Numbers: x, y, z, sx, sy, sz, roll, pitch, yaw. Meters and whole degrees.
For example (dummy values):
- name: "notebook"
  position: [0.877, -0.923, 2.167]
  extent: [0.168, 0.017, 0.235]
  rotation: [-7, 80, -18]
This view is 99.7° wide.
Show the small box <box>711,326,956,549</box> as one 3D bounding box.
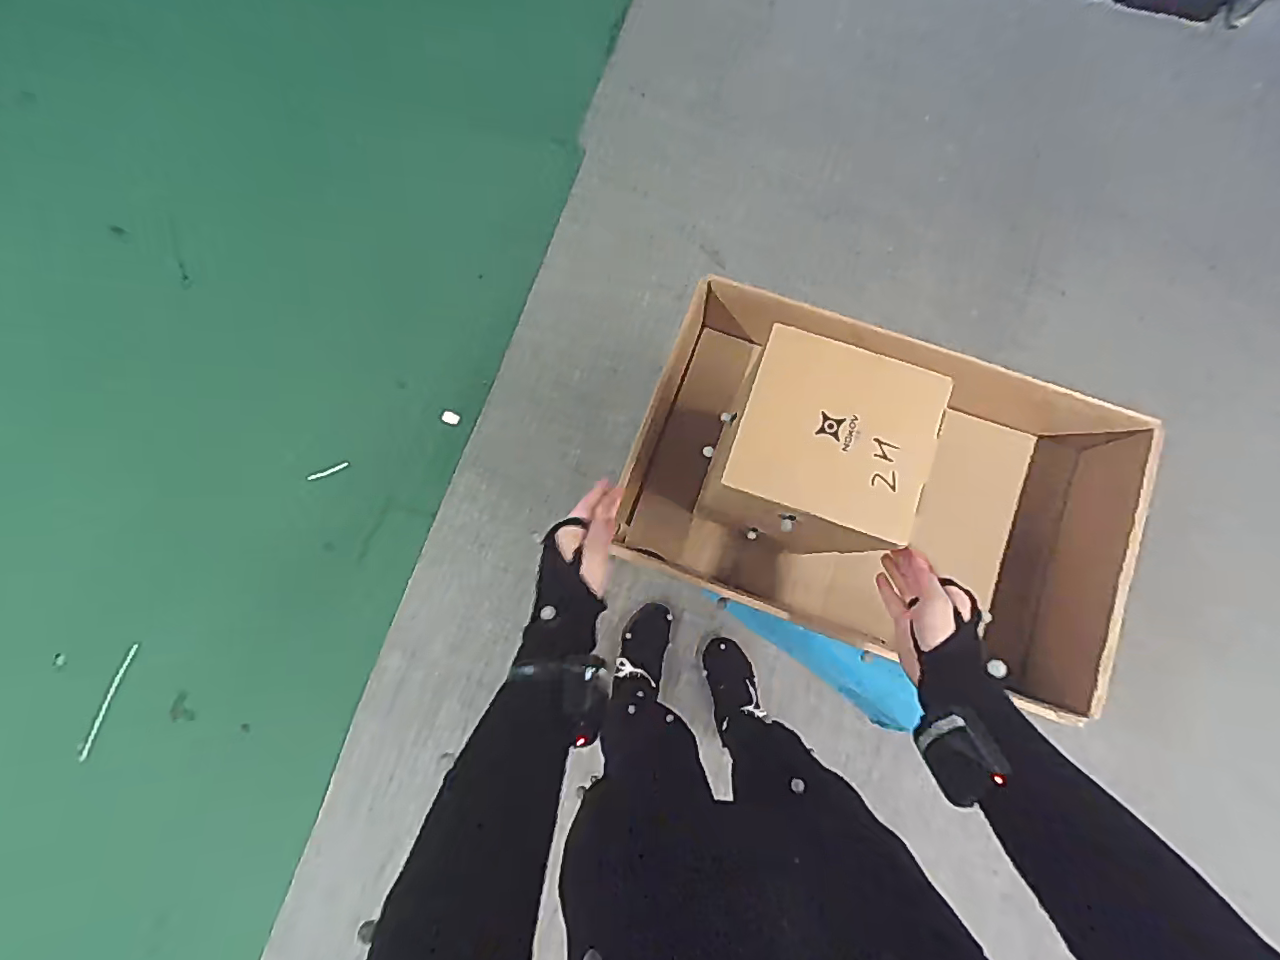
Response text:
- name: "small box"
  position: [0.184, -0.030, 0.569]
  extent: [0.179, 0.176, 0.168]
  rotation: [19, 82, 5]
